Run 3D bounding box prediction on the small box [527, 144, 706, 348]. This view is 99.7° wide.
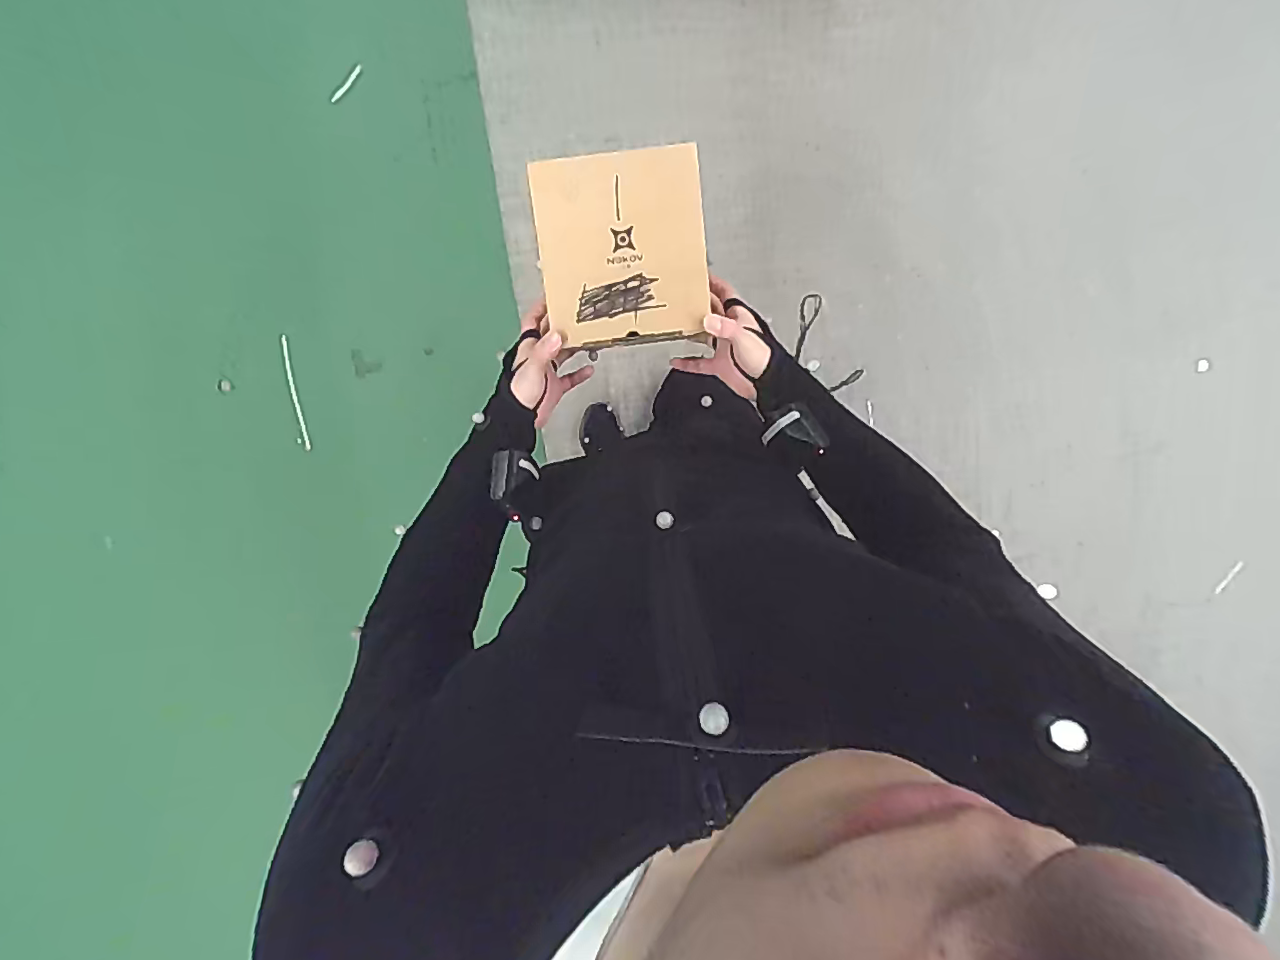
[{"bbox_3d":[-0.021,-0.245,0.610,0.168,0.176,0.179,-6,101,0],"label":"small box"}]
